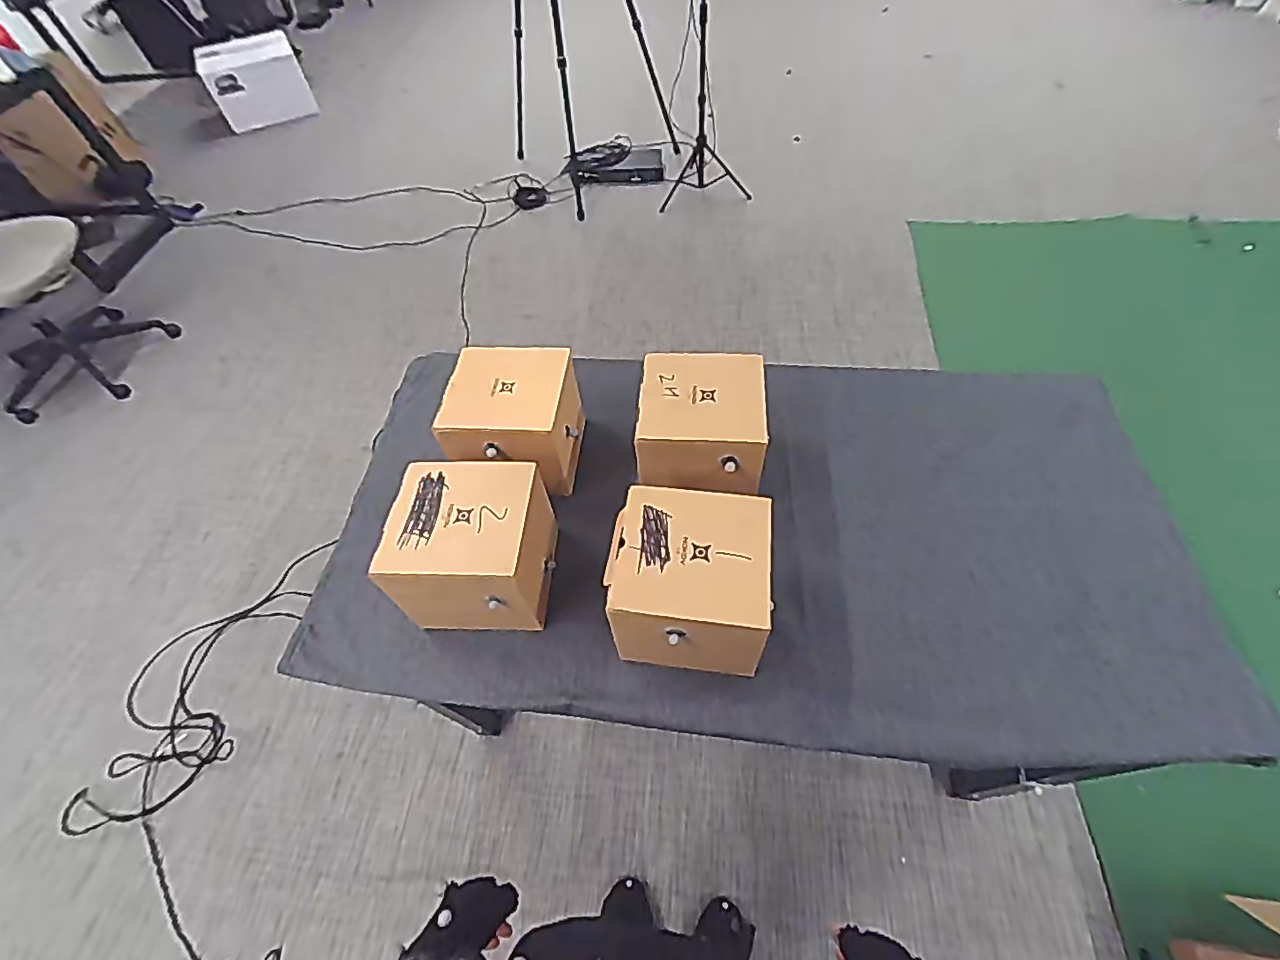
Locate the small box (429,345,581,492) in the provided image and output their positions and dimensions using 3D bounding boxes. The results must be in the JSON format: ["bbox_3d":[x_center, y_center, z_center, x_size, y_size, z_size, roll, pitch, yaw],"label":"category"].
[{"bbox_3d":[-0.196,-0.092,0.853,0.179,0.176,0.168,1,56,6],"label":"small box"}]

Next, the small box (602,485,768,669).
[{"bbox_3d":[0.062,0.125,0.676,0.179,0.176,0.168,5,55,8],"label":"small box"}]
